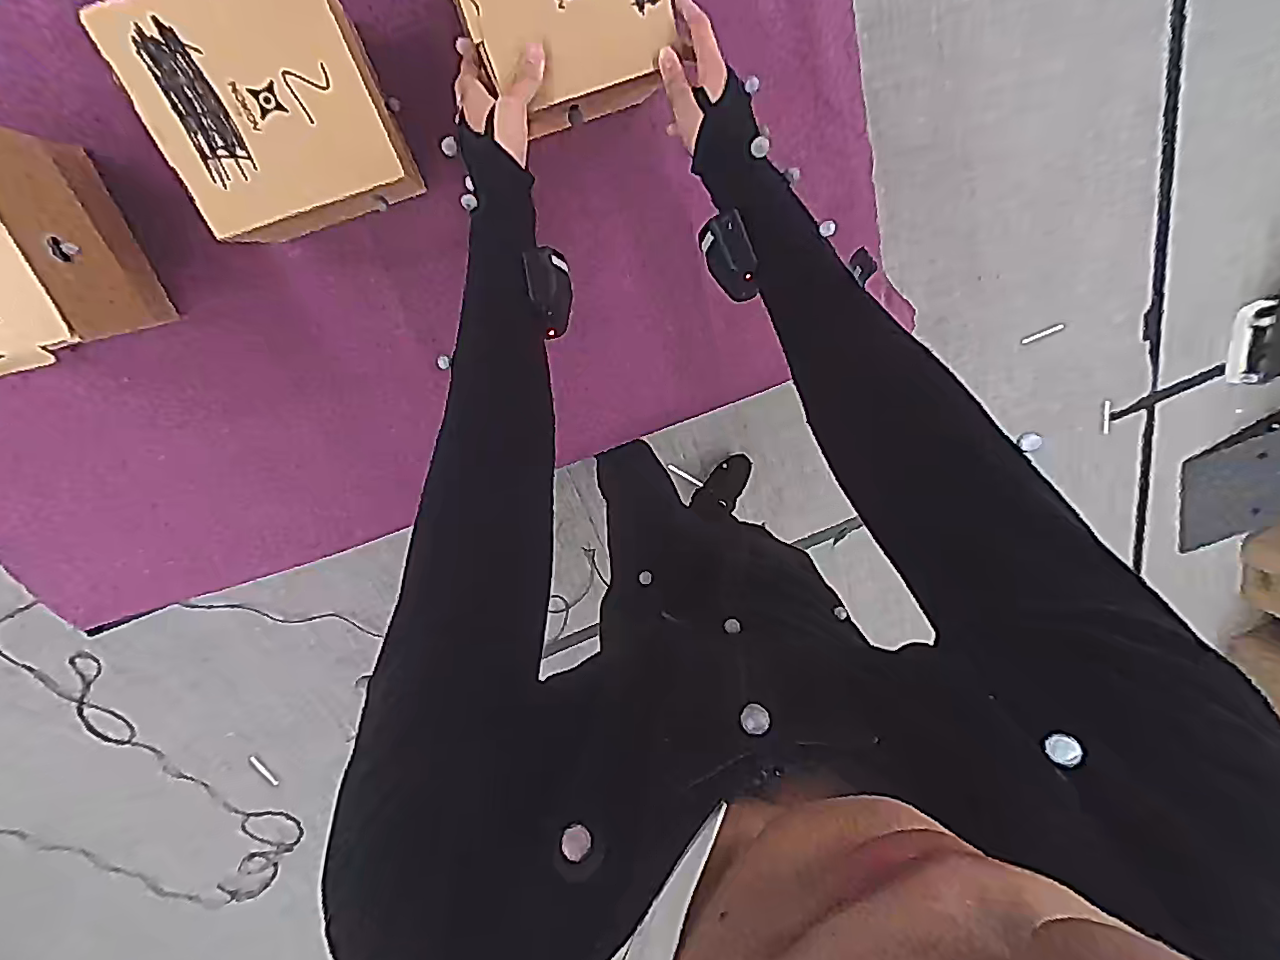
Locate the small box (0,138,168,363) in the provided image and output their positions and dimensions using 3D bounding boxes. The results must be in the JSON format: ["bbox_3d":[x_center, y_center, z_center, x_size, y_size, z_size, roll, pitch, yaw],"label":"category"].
[{"bbox_3d":[-0.602,-0.204,0.498,0.168,0.176,0.179,-17,115,-8],"label":"small box"}]
